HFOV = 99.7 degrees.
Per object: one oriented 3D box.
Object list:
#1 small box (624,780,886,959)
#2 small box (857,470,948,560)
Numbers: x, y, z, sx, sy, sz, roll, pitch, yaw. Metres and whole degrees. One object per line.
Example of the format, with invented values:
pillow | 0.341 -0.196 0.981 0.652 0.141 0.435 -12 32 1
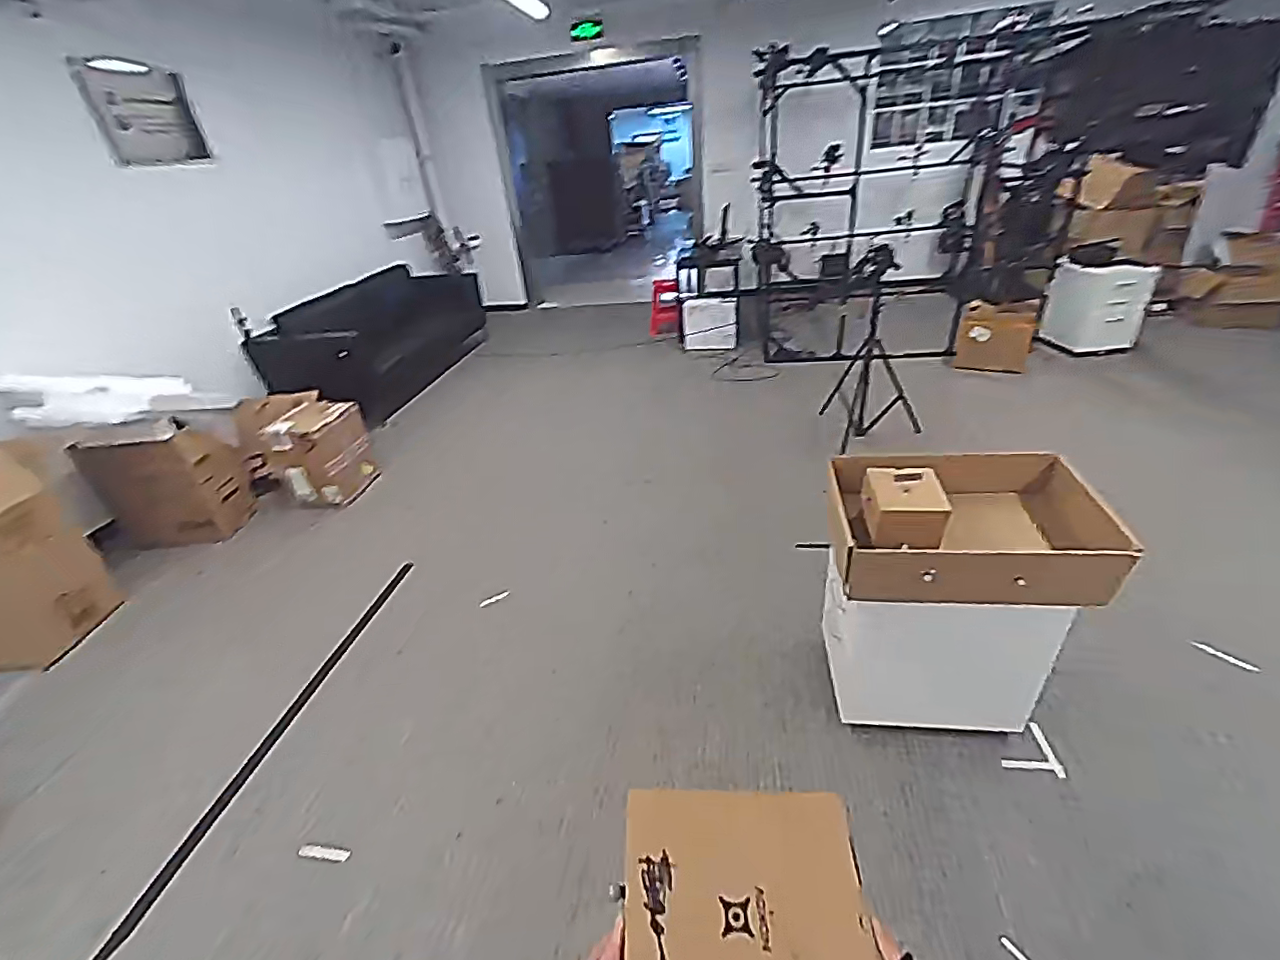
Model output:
small box | 0.078 0.364 0.435 0.179 0.176 0.168 3 42 0
small box | 0.683 0.089 1.430 0.168 0.176 0.179 -1 37 9
